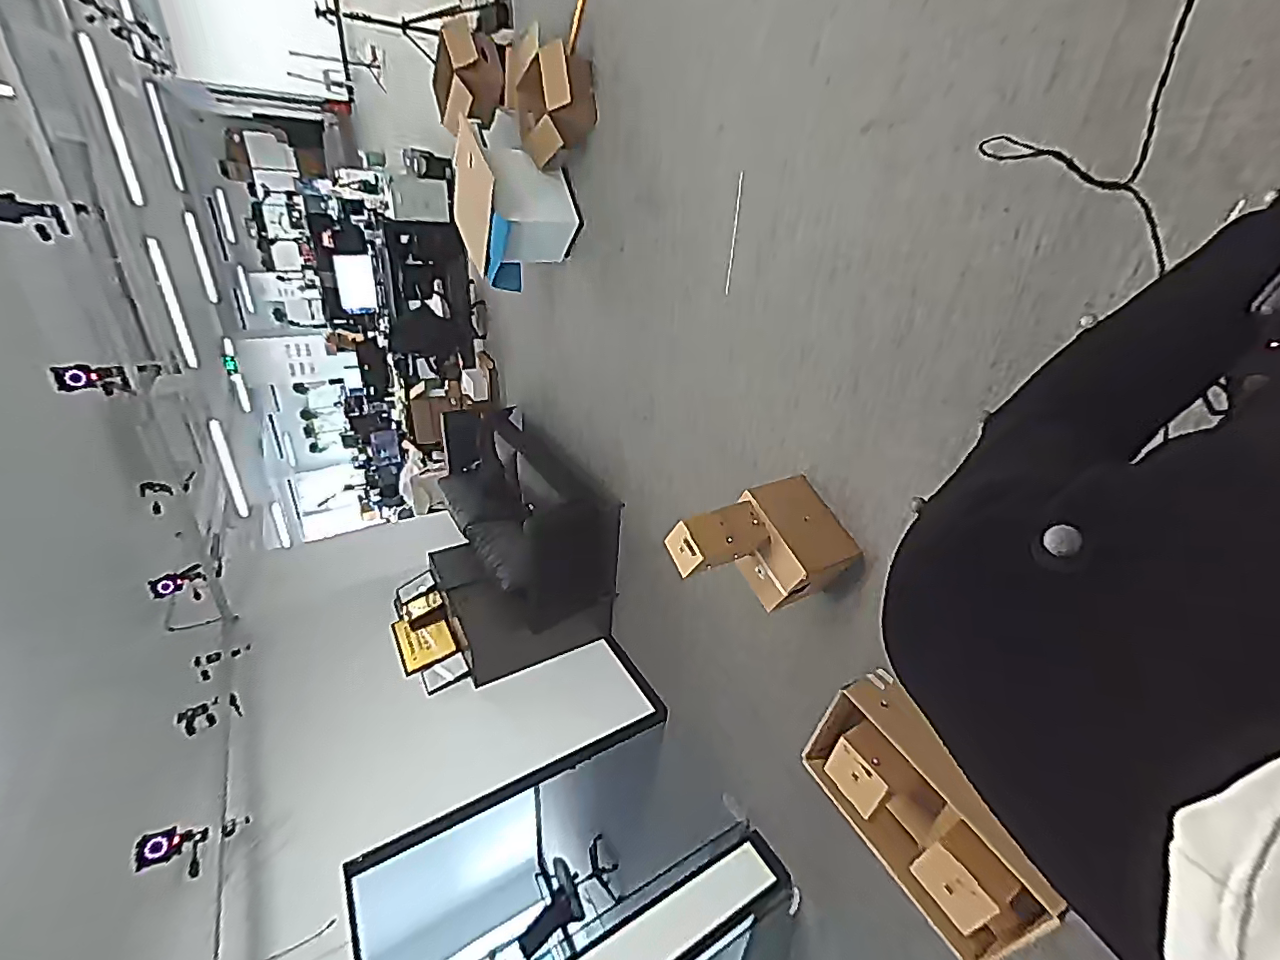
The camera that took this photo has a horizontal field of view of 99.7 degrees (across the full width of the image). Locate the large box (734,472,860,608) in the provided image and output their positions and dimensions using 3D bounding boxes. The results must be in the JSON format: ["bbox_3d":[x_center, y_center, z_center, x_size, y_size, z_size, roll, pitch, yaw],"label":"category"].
[{"bbox_3d":[0.589,0.233,2.192,0.408,0.320,0.320,58,146,28],"label":"large box"}]

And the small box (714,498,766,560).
[{"bbox_3d":[0.353,0.192,2.083,0.168,0.176,0.179,62,146,22],"label":"small box"}]

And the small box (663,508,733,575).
[{"bbox_3d":[0.219,0.224,1.994,0.168,0.176,0.179,62,147,22],"label":"small box"}]
